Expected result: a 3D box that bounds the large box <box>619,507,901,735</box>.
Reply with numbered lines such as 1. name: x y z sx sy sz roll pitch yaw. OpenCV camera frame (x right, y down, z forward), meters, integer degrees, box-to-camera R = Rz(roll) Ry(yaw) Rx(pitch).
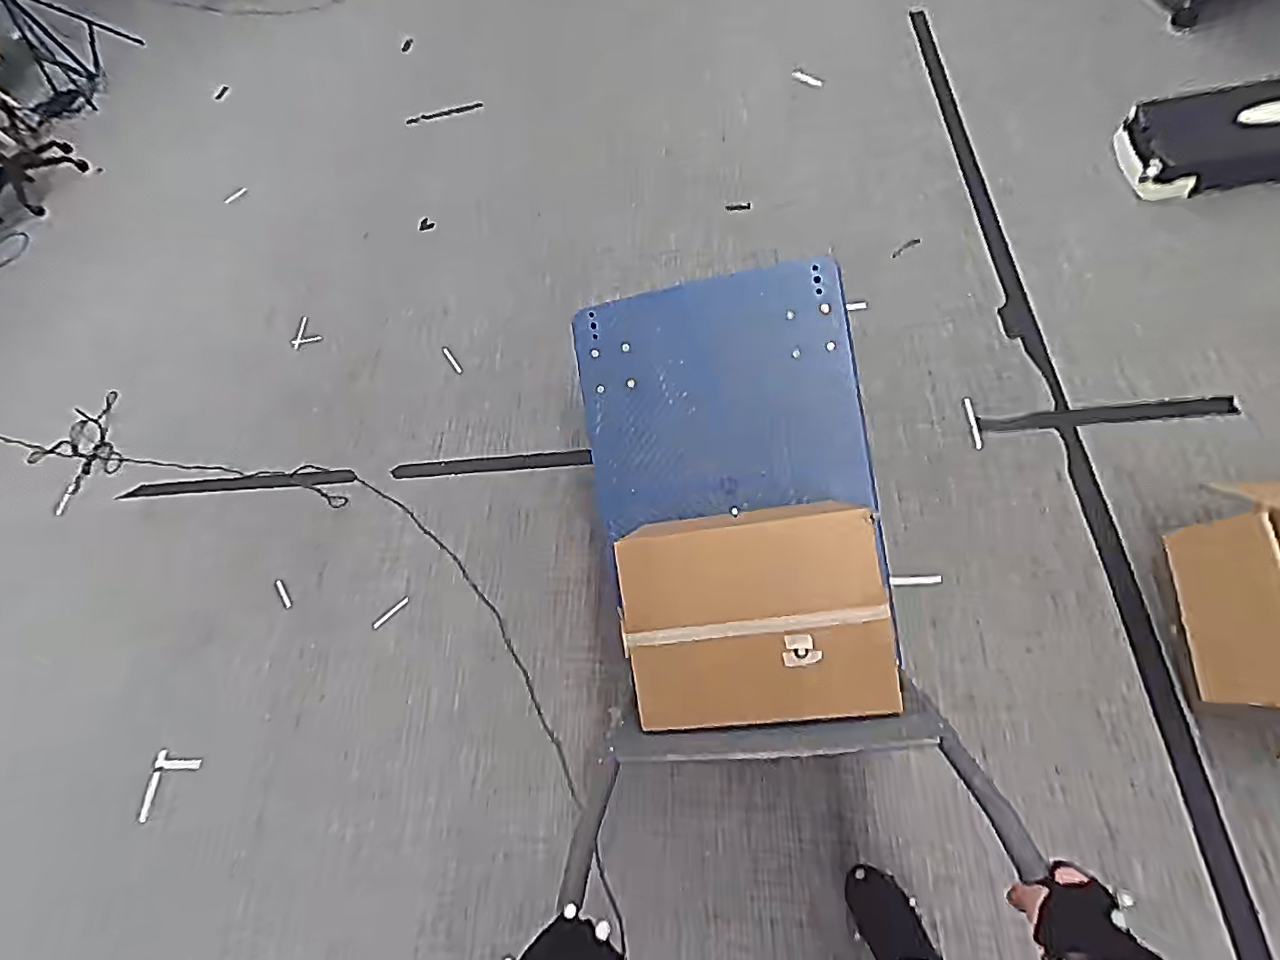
1. large box: 0.202 0.234 1.000 0.408 0.320 0.320 -9 89 9
